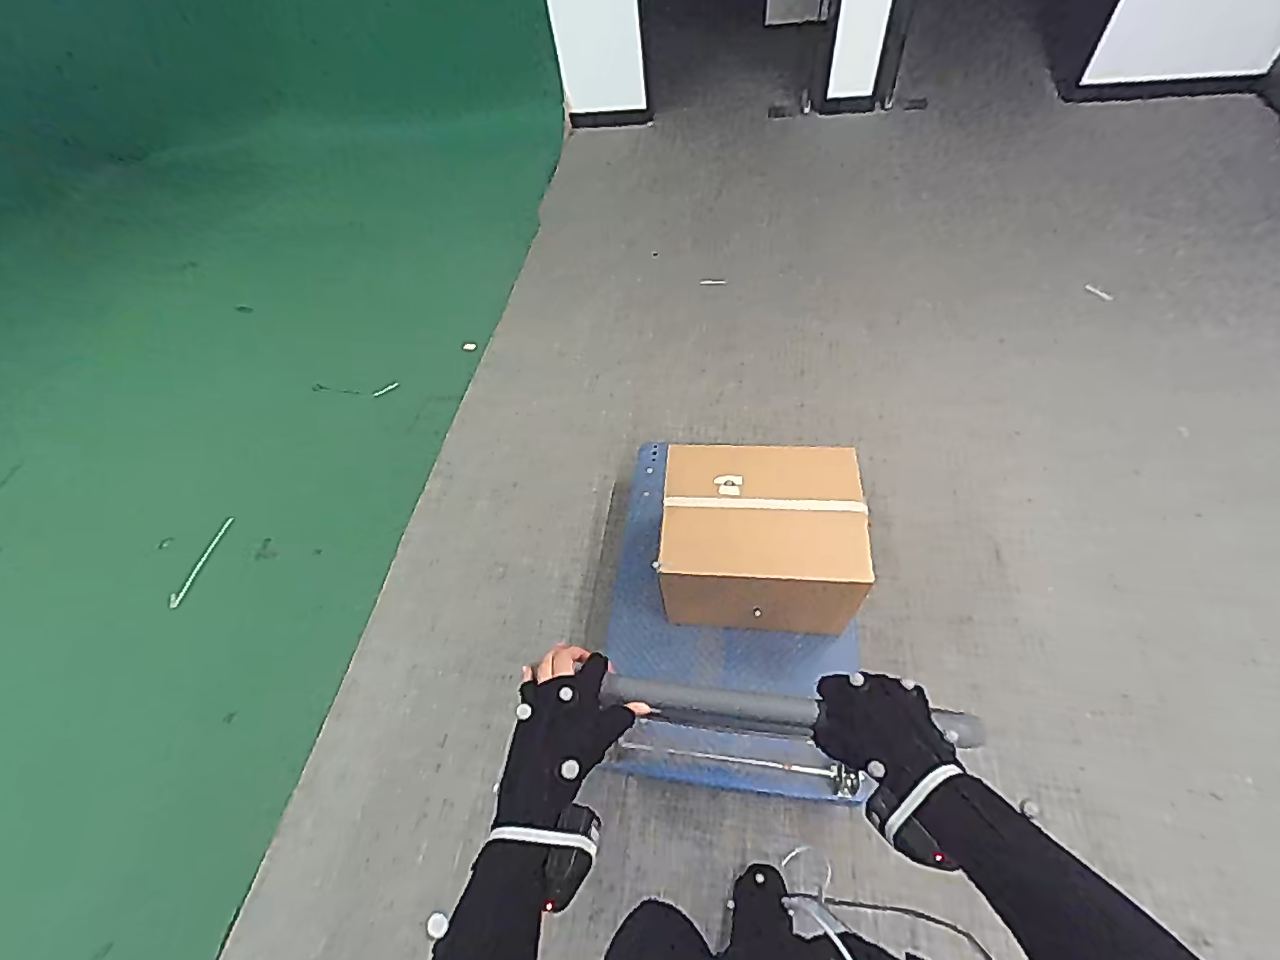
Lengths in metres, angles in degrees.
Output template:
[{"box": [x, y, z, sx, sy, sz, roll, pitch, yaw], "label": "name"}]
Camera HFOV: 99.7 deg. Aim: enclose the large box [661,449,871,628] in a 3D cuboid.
[{"box": [0.270, 0.143, 1.244, 0.408, 0.320, 0.320, 0, 57, 9], "label": "large box"}]
